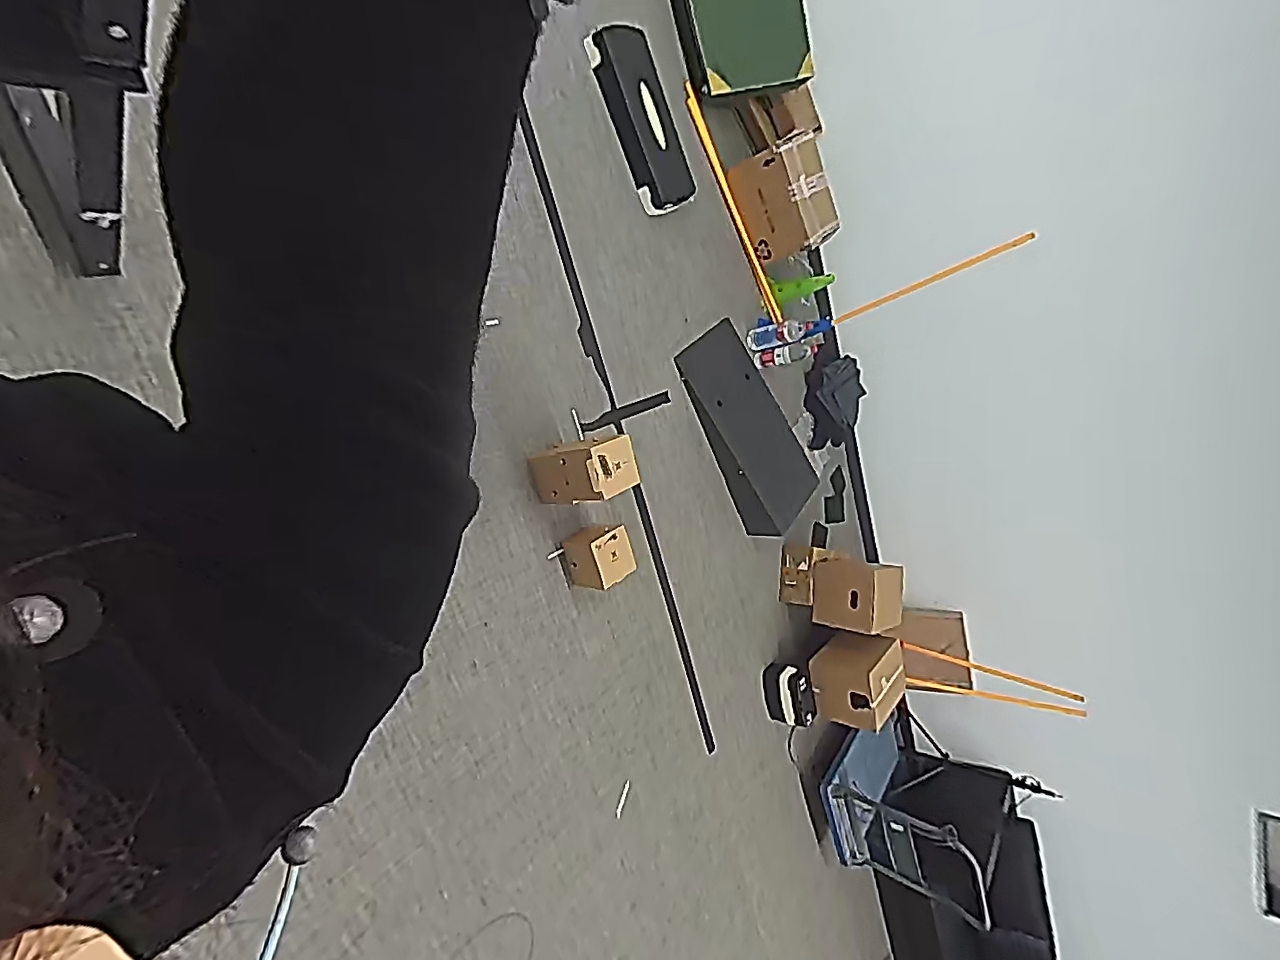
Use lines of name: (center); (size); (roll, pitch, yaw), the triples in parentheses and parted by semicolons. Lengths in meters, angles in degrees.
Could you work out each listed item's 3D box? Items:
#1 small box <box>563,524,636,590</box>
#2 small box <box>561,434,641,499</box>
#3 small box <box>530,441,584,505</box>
small box: (-0.144, 0.265, 1.910); (0.168, 0.176, 0.179); (-28, 108, -43)
small box: (-0.131, -0.040, 1.705); (0.179, 0.176, 0.168); (-26, 107, -44)
small box: (-0.243, -0.027, 1.824); (0.168, 0.176, 0.179); (-29, 109, -42)
